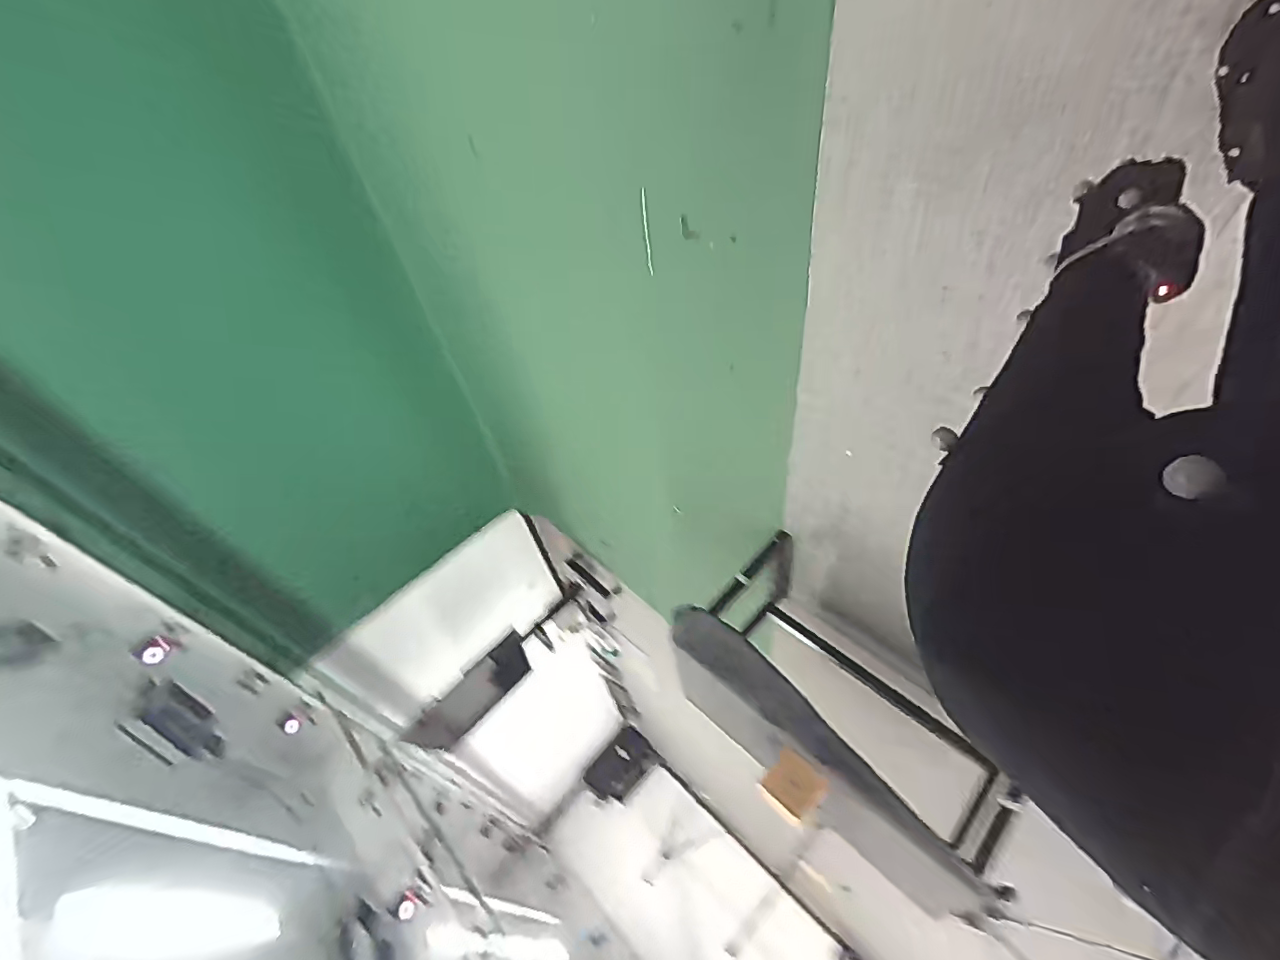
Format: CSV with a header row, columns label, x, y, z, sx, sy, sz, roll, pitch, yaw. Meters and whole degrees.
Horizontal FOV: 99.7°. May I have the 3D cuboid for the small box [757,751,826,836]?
label,x,y,z,sx,sy,sz,roll,pitch,yaw
small box,0.536,1.096,1.896,0.179,0.176,0.168,31,151,39
